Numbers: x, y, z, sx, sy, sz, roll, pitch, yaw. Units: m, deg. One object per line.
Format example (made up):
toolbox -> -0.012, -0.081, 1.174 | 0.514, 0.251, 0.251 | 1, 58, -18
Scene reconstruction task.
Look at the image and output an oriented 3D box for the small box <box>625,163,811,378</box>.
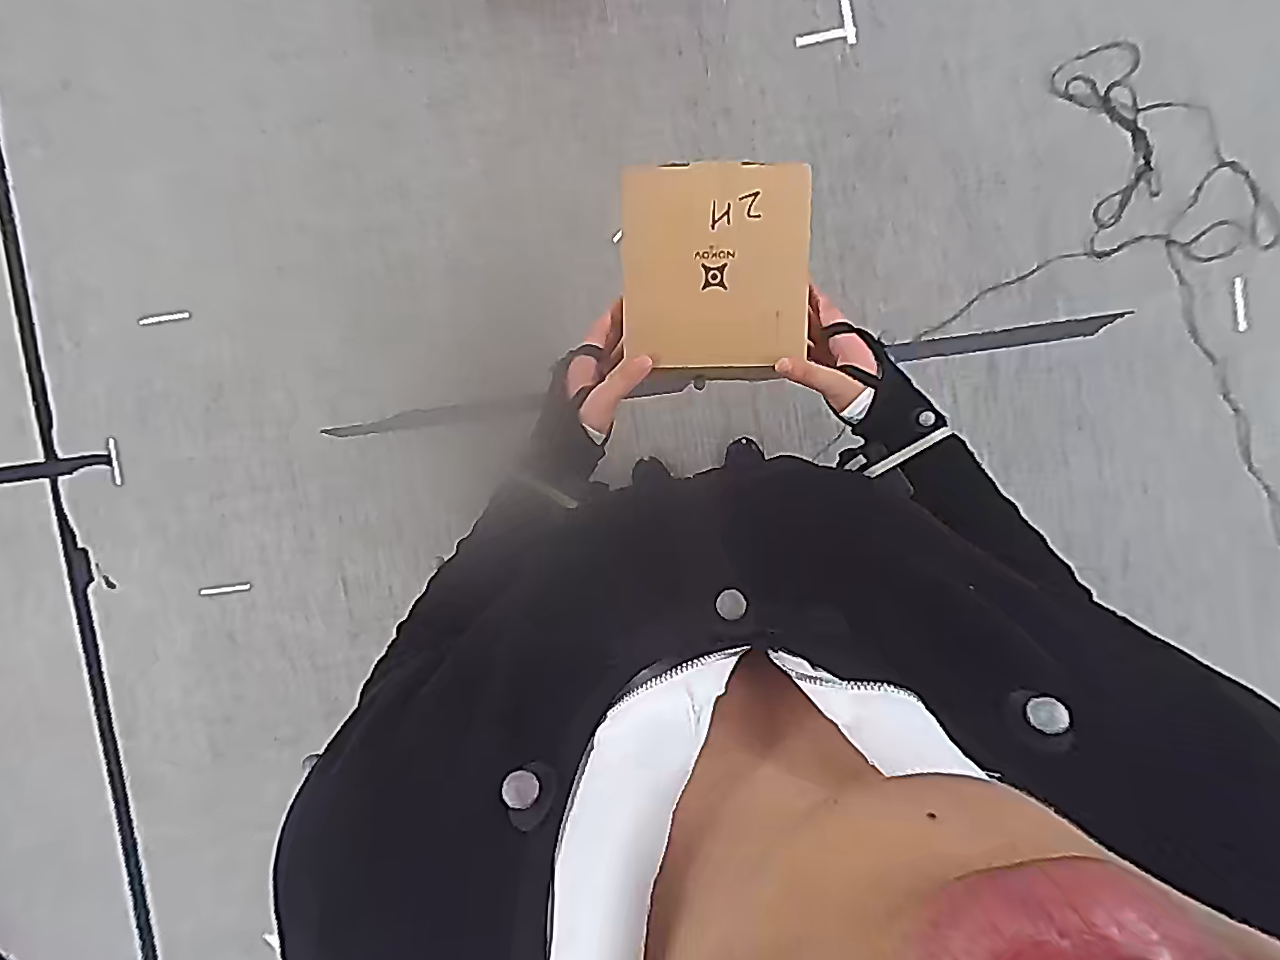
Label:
small box -> 0.069, -0.200, 0.562 | 0.168, 0.176, 0.179 | 0, 95, -1
